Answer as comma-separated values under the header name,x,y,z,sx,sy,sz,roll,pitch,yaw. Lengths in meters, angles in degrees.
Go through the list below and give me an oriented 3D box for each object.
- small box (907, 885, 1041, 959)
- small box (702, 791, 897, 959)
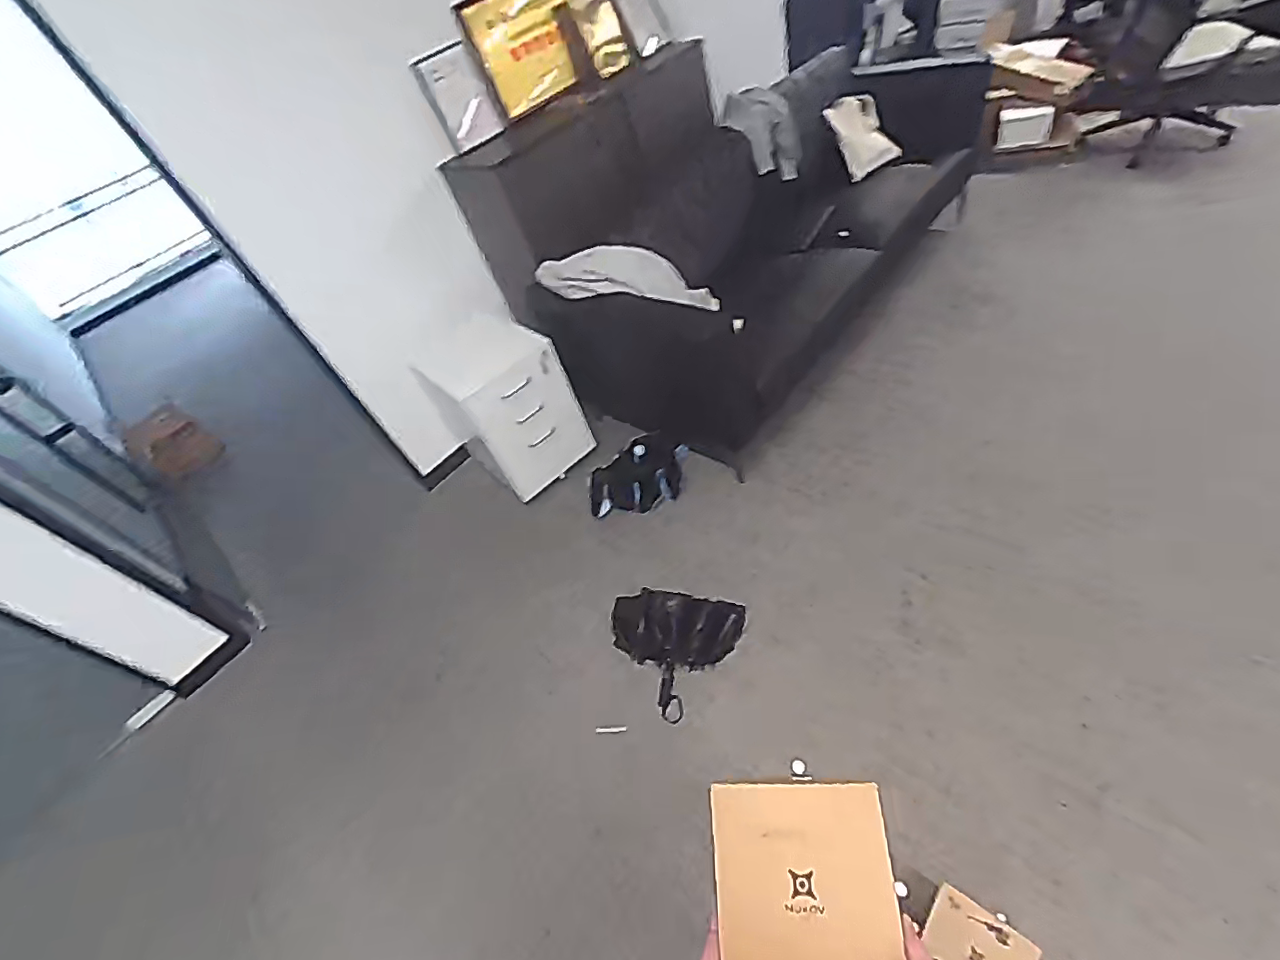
name,x,y,z,sx,sy,sz,roll,pitch,yaw
small box,0.614,0.914,1.016,0.168,0.176,0.179,24,62,36
small box,0.161,0.432,0.562,0.168,0.176,0.179,-7,63,10
